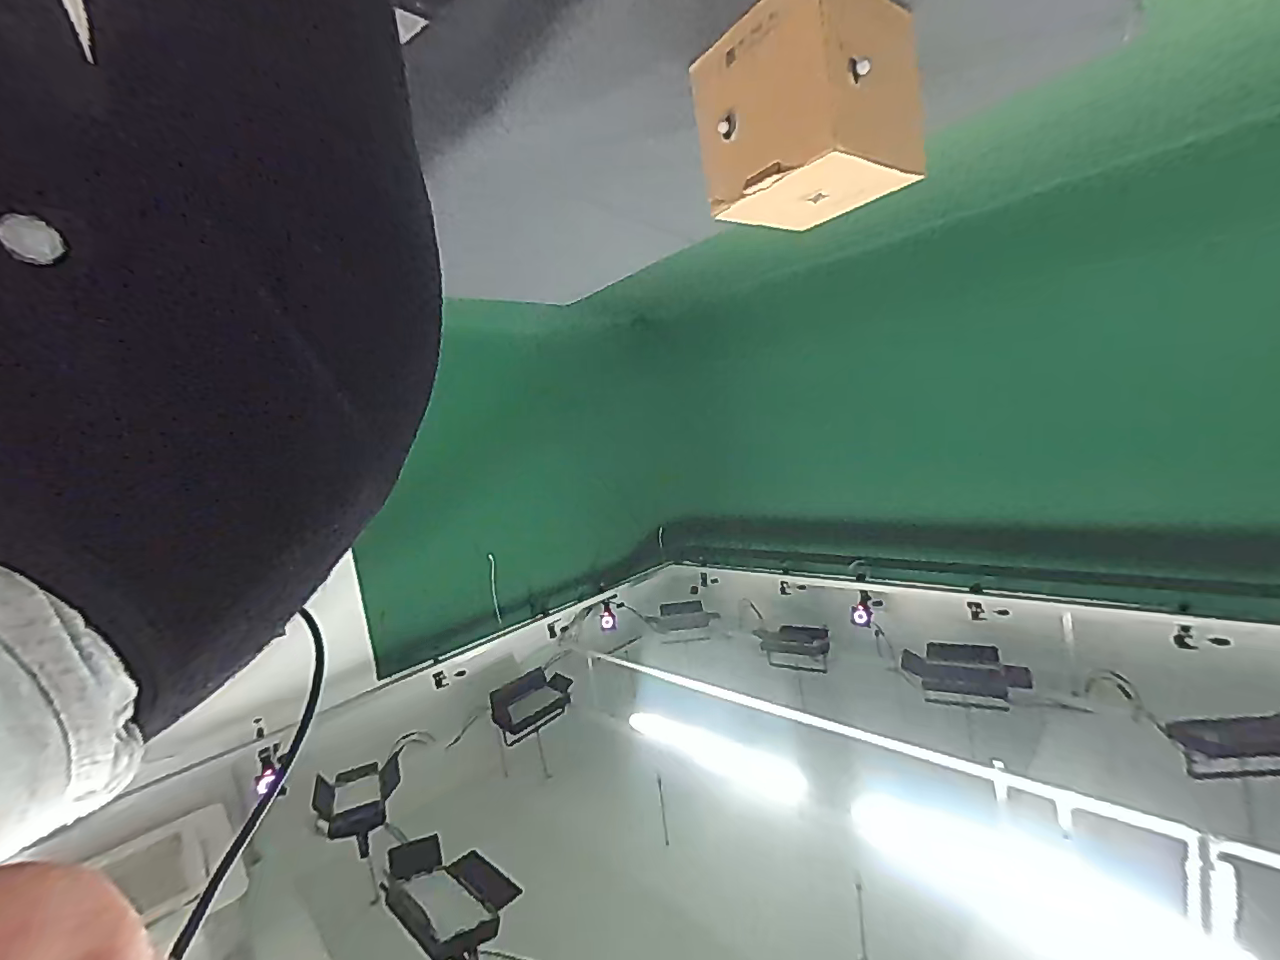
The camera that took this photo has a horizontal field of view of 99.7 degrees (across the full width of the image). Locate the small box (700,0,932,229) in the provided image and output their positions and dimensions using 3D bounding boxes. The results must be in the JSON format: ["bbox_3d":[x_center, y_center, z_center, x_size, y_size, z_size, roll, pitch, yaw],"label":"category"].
[{"bbox_3d":[0.186,-0.394,0.587,0.179,0.176,0.168,-16,-171,-34],"label":"small box"}]
